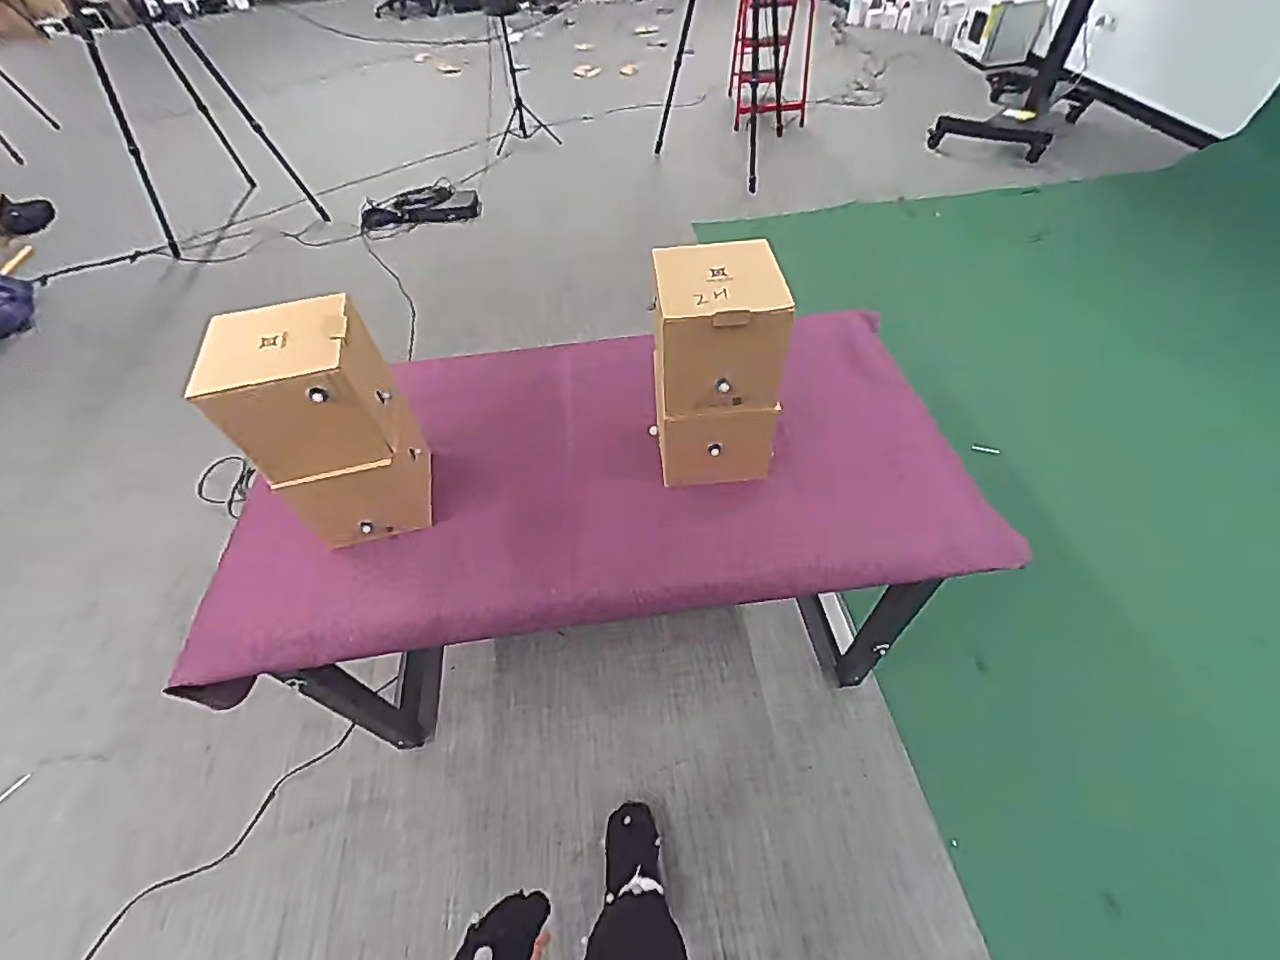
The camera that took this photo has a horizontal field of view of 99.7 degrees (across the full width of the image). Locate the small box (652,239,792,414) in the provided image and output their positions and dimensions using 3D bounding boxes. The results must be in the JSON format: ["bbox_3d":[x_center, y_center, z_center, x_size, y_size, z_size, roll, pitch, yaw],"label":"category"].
[{"bbox_3d":[0.106,-0.218,0.777,0.168,0.176,0.179,-6,51,1],"label":"small box"}]

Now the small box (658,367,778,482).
[{"bbox_3d":[0.119,-0.110,0.899,0.179,0.176,0.168,-3,50,2],"label":"small box"}]

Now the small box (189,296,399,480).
[{"bbox_3d":[-0.456,-0.122,0.746,0.179,0.176,0.168,-14,53,-7],"label":"small box"}]
